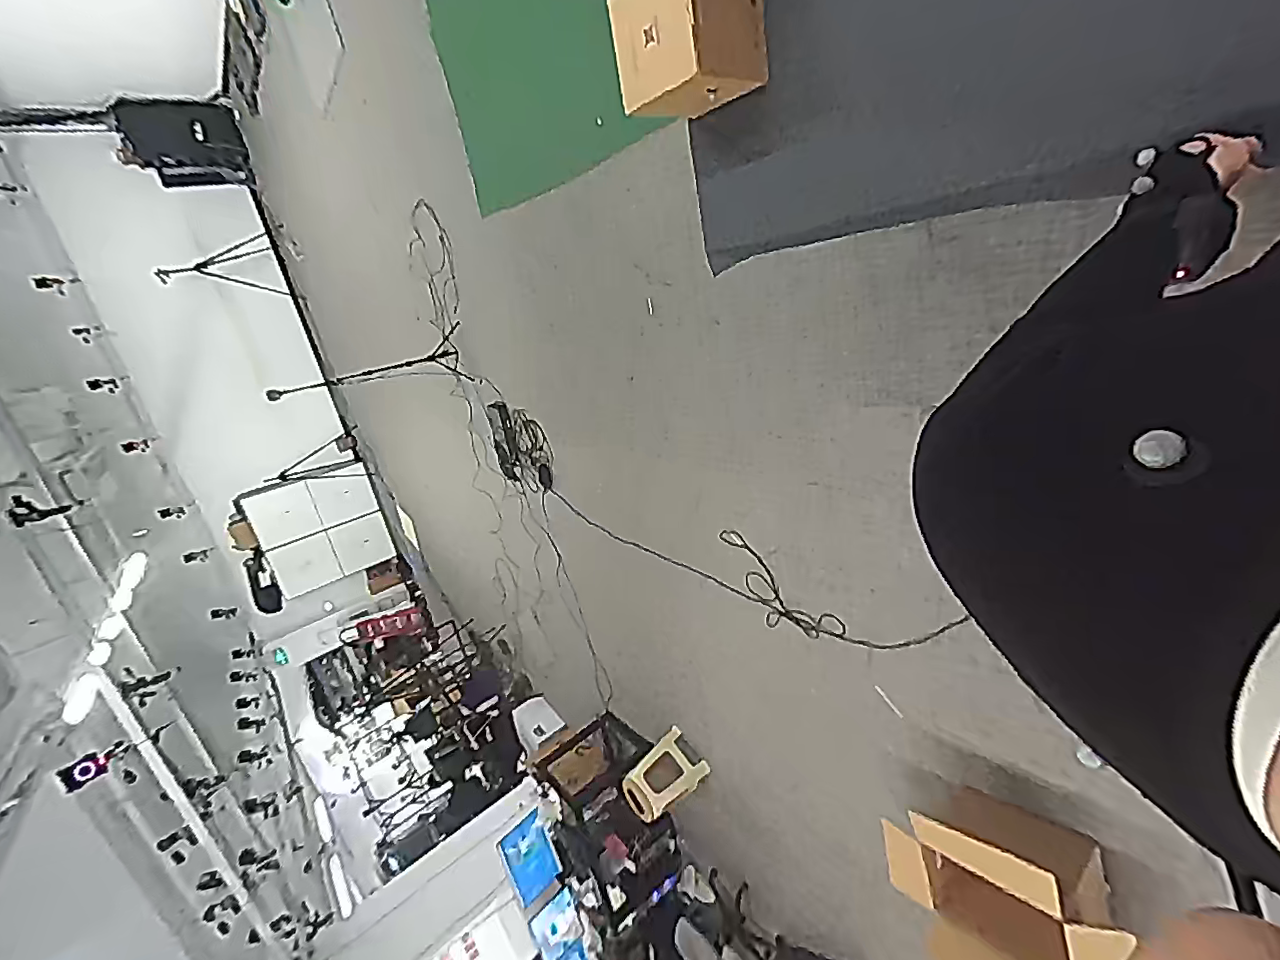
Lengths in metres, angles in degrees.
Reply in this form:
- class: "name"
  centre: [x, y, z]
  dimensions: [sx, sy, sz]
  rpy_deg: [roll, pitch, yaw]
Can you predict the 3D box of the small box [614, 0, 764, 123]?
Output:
- class: "small box"
  centre: [0.085, -0.692, 0.864]
  dimensions: [0.179, 0.176, 0.168]
  rpy_deg: [17, 121, 49]
